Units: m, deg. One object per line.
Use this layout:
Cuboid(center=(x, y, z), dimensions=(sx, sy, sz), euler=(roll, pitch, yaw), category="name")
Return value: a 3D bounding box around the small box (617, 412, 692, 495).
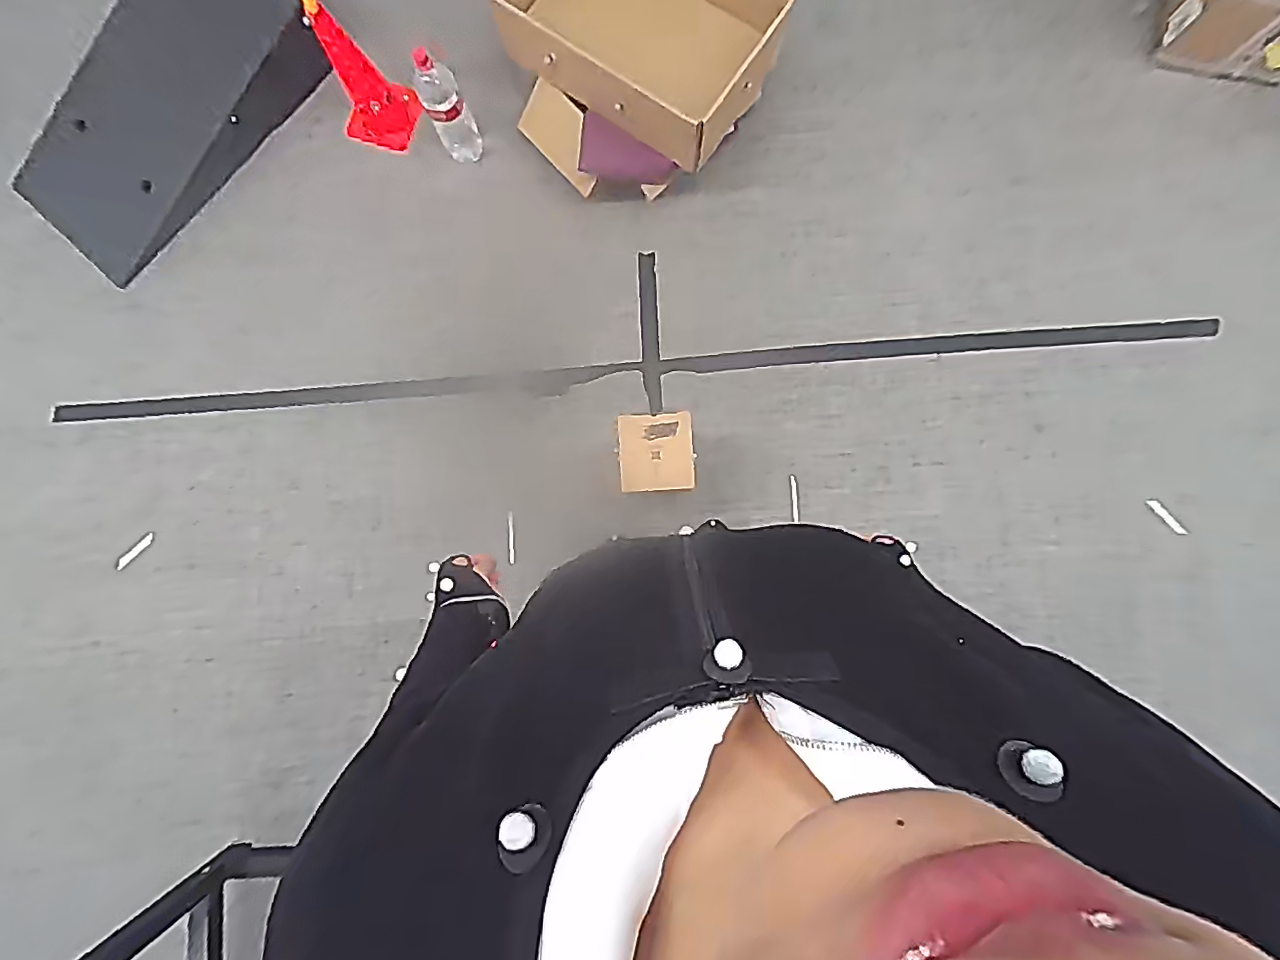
Cuboid(center=(0.032, -0.058, 1.283), dimensions=(0.168, 0.176, 0.179), euler=(-3, 87, 1), category="small box")
